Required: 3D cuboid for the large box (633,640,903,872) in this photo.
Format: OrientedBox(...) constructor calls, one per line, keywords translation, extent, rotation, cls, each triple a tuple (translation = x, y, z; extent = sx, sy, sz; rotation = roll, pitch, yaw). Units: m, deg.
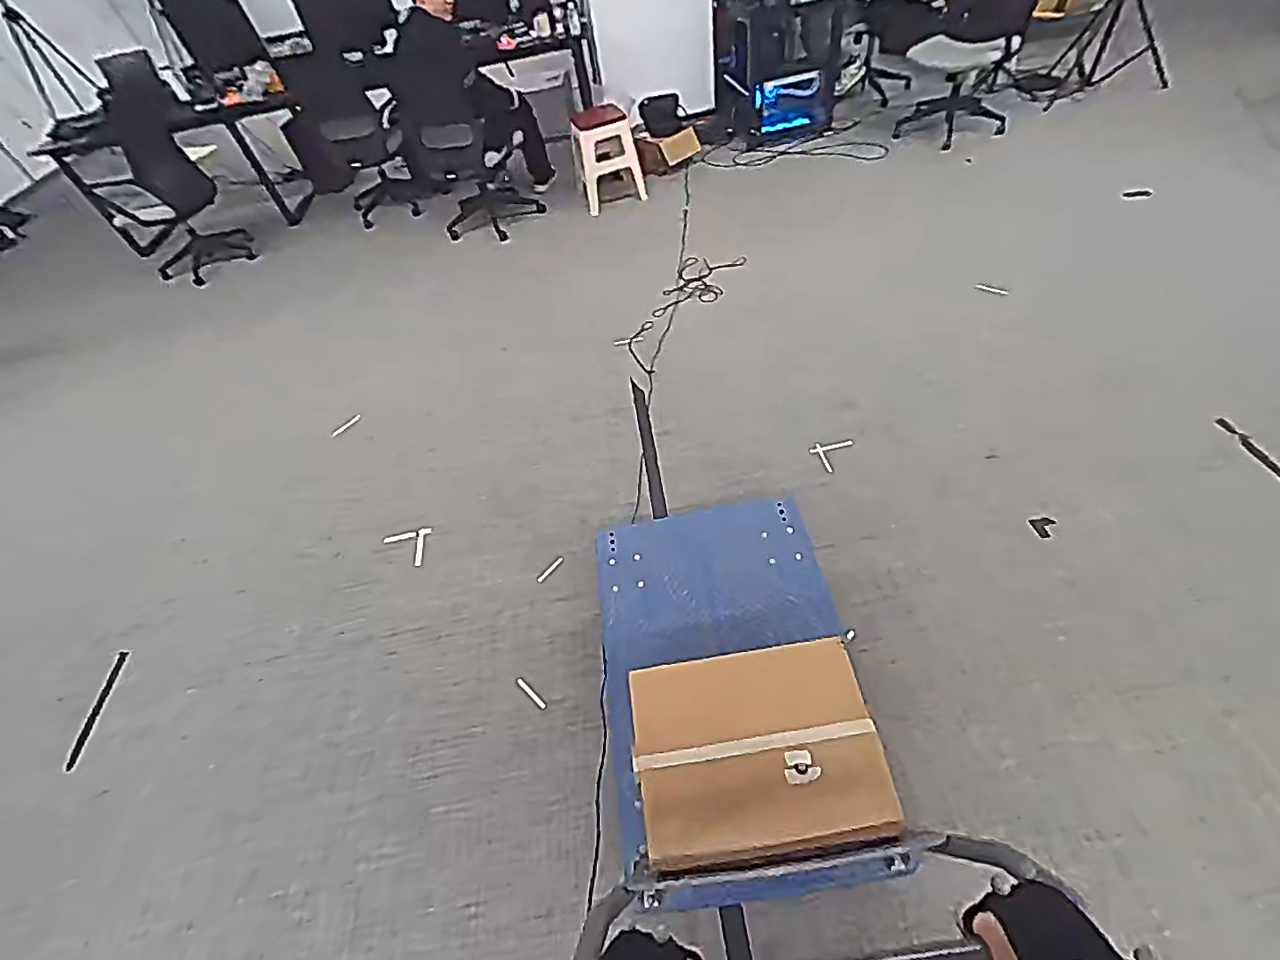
OrientedBox(translation=(0.218, 0.546, 1.057), extent=(0.408, 0.320, 0.320), rotation=(-10, 55, 1), cls="large box")
